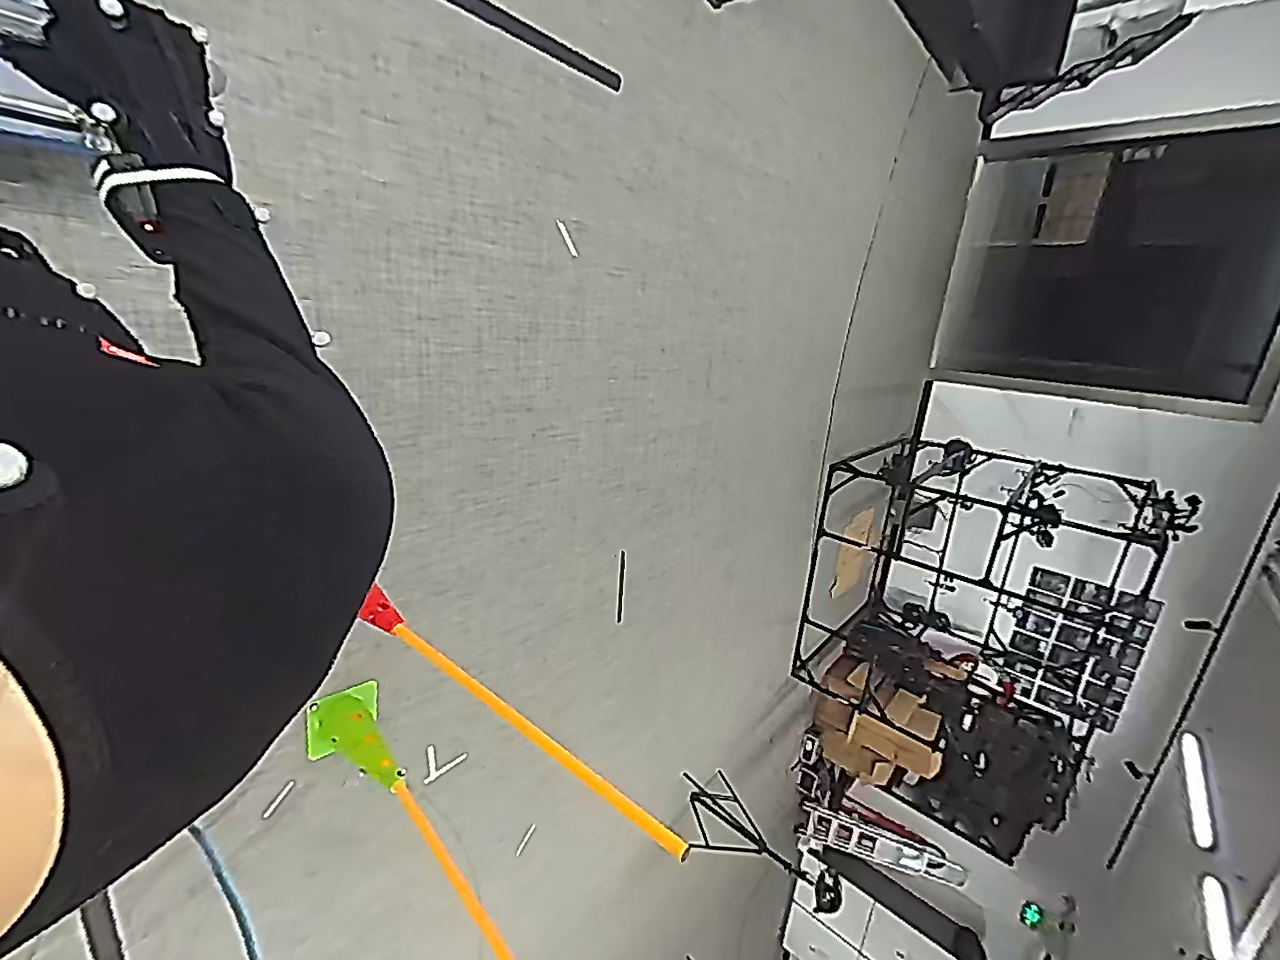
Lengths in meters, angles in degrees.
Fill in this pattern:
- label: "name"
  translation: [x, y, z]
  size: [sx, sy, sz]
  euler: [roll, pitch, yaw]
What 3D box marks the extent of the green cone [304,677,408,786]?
- label: "green cone"
  translation: [-0.780, 0.762, 1.547]
  size: [0.202, 0.368, 0.200]
  euler: [-10, 113, -51]
